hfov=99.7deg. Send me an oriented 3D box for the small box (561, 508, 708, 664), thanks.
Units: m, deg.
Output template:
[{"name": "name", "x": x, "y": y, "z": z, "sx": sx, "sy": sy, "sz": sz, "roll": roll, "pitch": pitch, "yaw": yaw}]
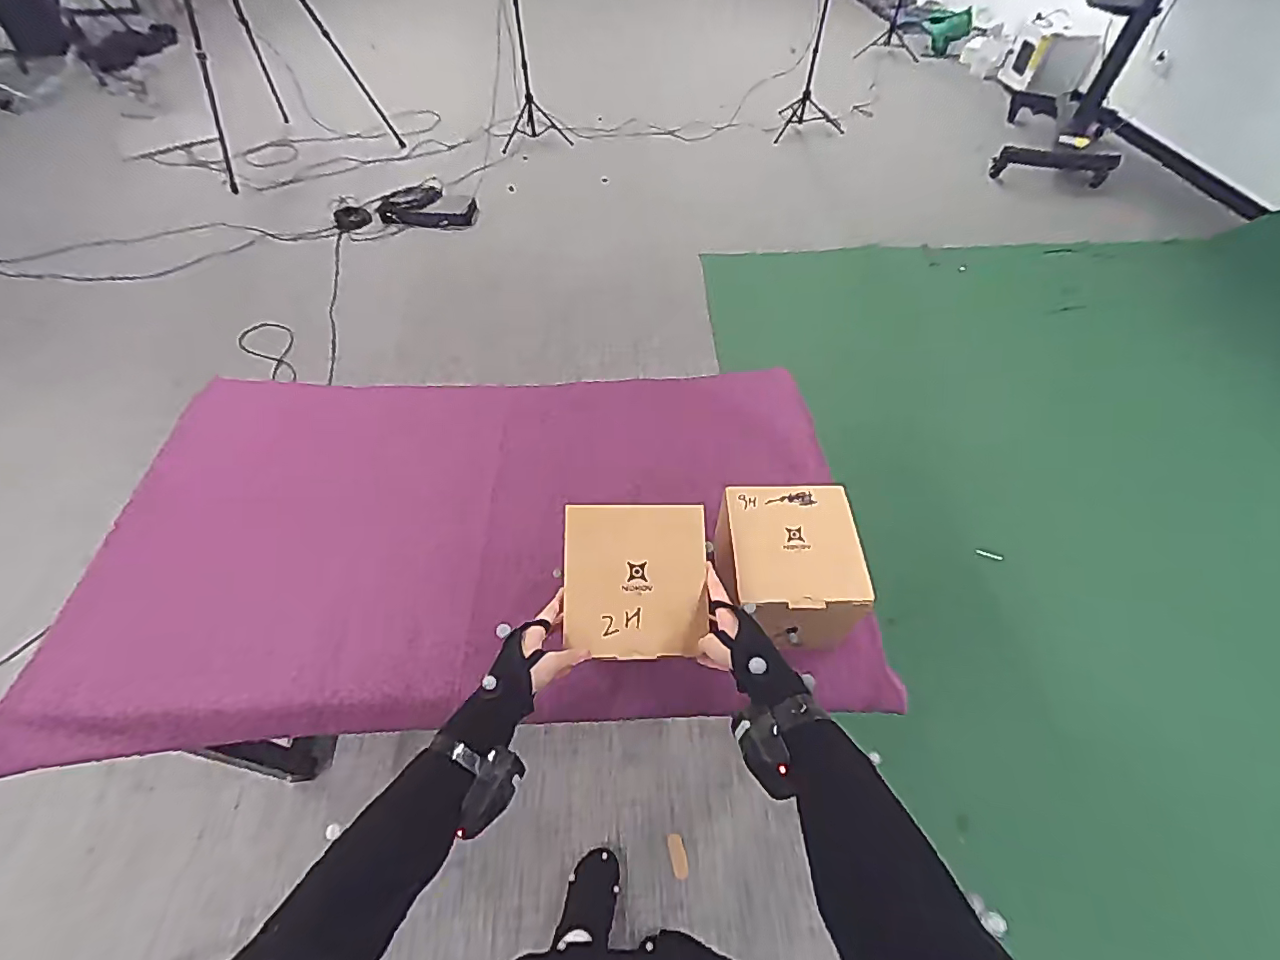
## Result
[{"name": "small box", "x": -0.011, "y": 0.138, "z": 0.692, "sx": 0.168, "sy": 0.176, "sz": 0.179, "roll": 0, "pitch": 76, "yaw": -3}]
